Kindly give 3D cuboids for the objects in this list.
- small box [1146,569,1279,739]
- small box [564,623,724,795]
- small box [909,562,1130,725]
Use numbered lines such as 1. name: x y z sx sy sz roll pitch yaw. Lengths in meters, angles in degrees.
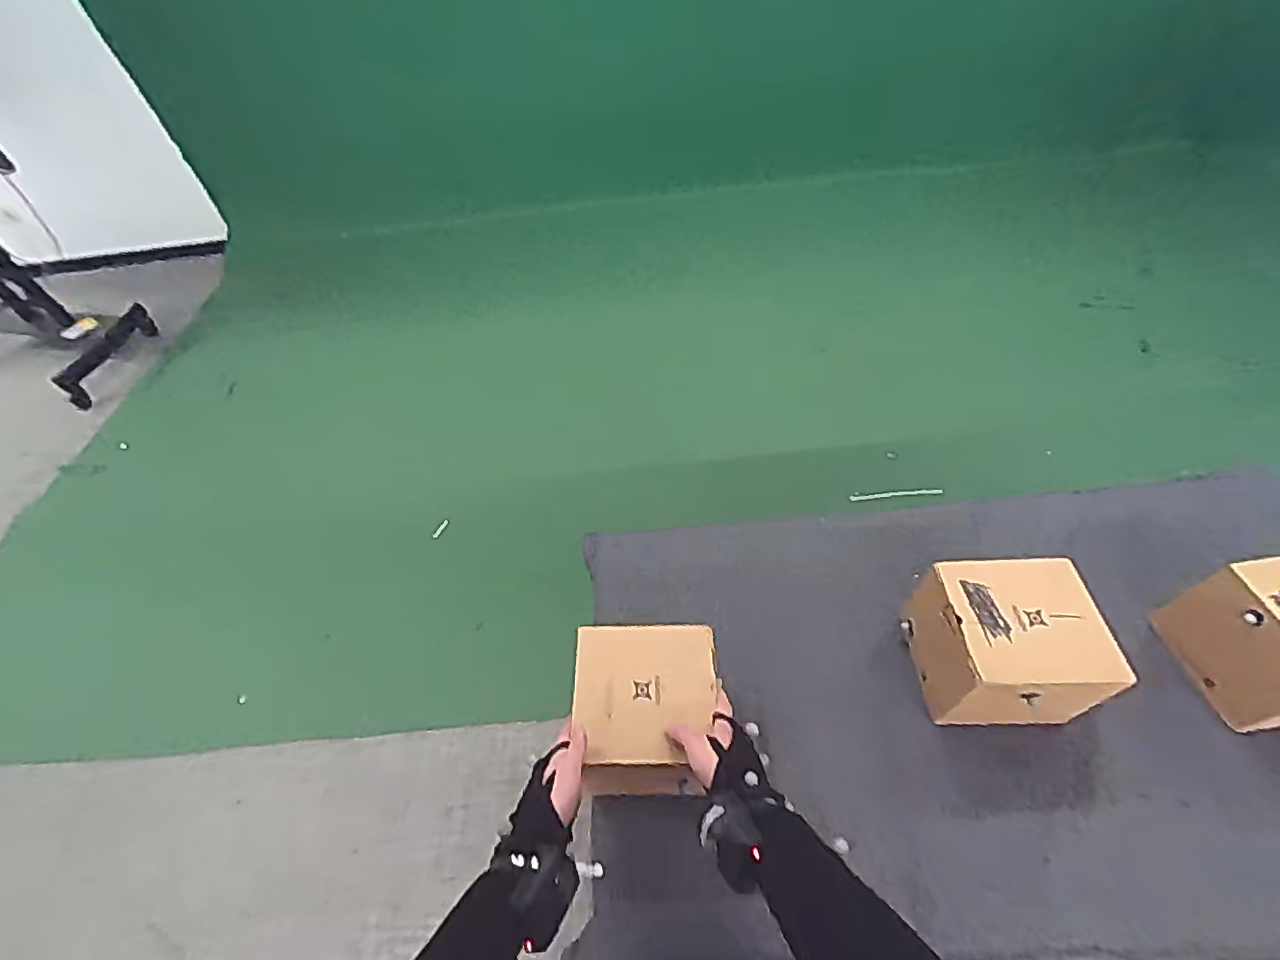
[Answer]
1. small box: 0.850 0.227 0.714 0.179 0.176 0.168 -10 52 -1
2. small box: 0.006 0.296 0.695 0.179 0.176 0.168 -1 50 2
3. small box: 0.484 0.224 0.731 0.179 0.176 0.168 0 53 7
